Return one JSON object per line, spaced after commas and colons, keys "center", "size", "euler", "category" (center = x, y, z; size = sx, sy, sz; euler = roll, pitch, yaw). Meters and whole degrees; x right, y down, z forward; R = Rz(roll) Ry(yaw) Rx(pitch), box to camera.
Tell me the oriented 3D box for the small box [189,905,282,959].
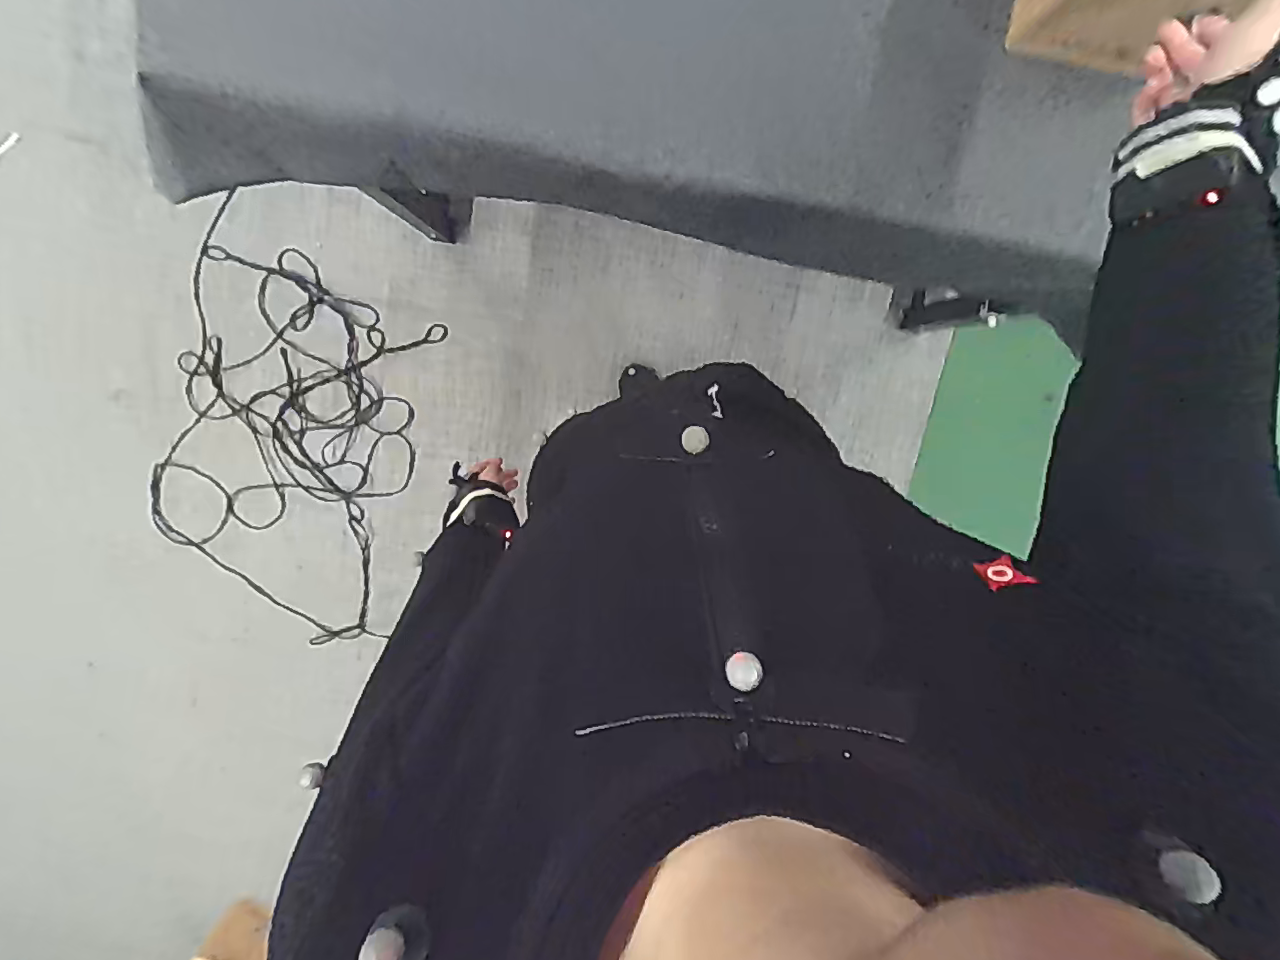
{"center": [-1.140, 1.342, 1.494], "size": [0.168, 0.176, 0.179], "euler": [29, 98, -5], "category": "small box"}
